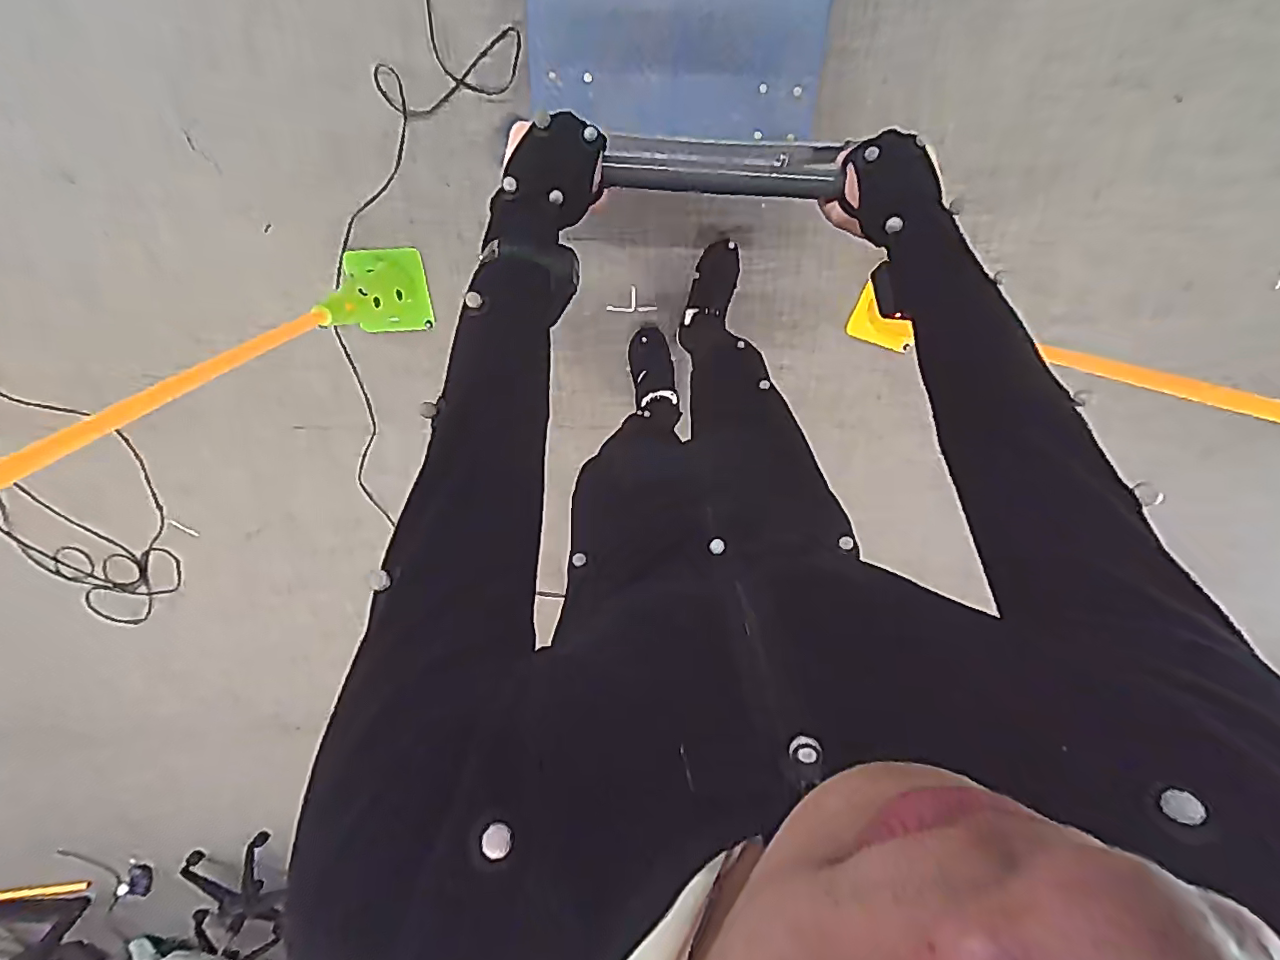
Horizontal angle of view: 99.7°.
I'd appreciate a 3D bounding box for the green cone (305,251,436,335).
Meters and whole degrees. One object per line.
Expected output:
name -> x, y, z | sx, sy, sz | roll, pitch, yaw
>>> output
green cone -> -0.645, -0.406, 1.245 | 0.202, 0.368, 0.200 | -3, 116, 2
